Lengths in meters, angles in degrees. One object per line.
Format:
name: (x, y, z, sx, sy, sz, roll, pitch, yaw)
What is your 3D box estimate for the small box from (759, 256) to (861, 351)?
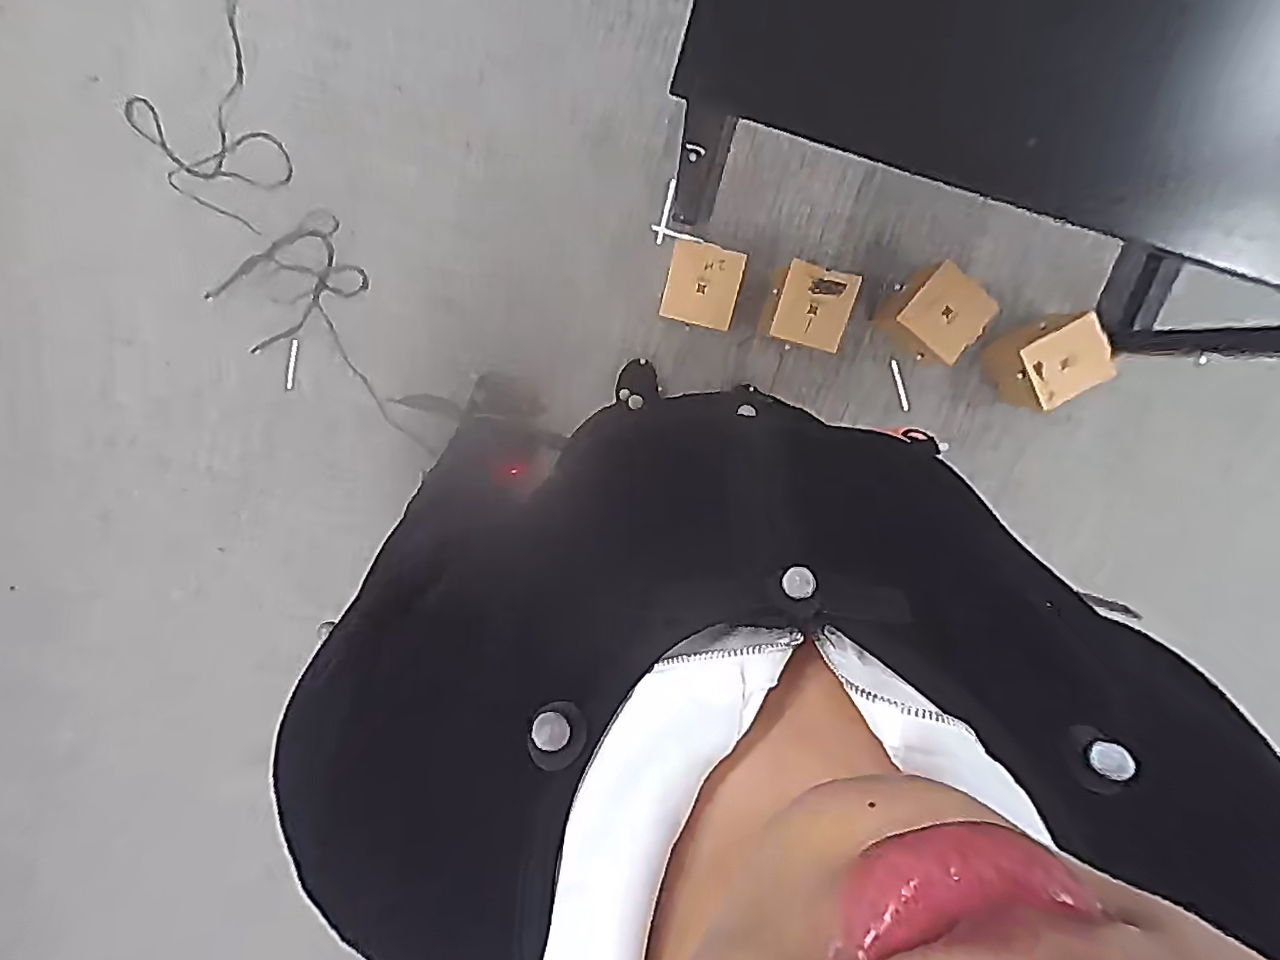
small box: (0.401, -0.423, 1.313, 0.168, 0.176, 0.179, 15, 105, -2)

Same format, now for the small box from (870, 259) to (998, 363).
small box: (0.702, -0.403, 1.310, 0.179, 0.176, 0.168, 37, 102, -6)

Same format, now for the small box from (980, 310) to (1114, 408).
small box: (0.985, -0.297, 1.323, 0.179, 0.176, 0.168, -29, 101, 9)
